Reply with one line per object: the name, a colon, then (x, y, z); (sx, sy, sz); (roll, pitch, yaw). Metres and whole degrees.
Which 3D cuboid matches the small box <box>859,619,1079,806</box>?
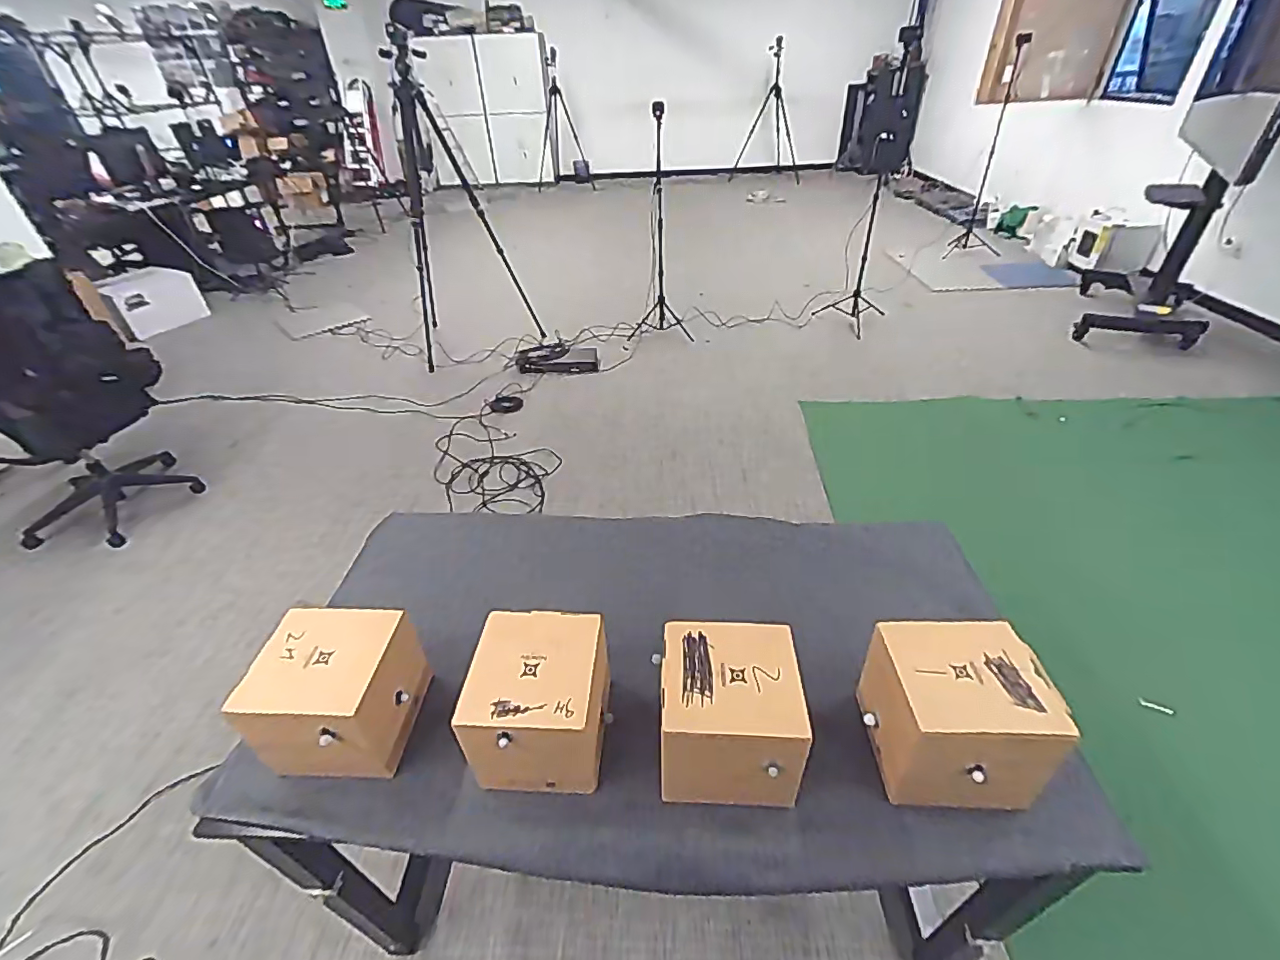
small box: (0.410, 0.304, 0.711); (0.179, 0.176, 0.168); (-1, 34, 5)
